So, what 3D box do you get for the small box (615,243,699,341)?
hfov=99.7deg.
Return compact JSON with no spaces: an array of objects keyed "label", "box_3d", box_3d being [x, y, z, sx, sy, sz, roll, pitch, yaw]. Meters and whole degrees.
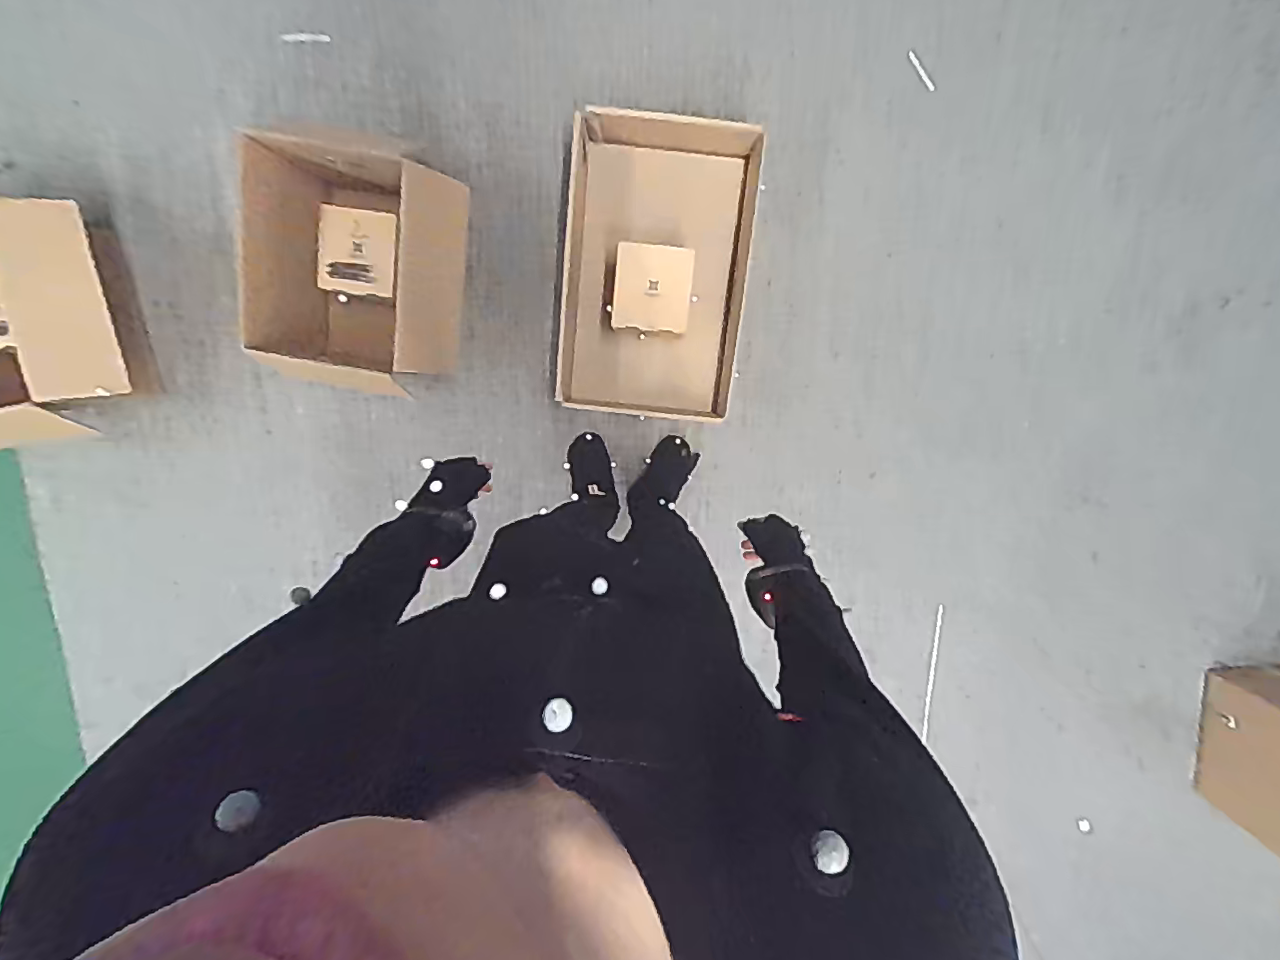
[{"label":"small box","box_3d":[0.035,-0.418,1.225,0.168,0.176,0.179,5,101,-1]}]
